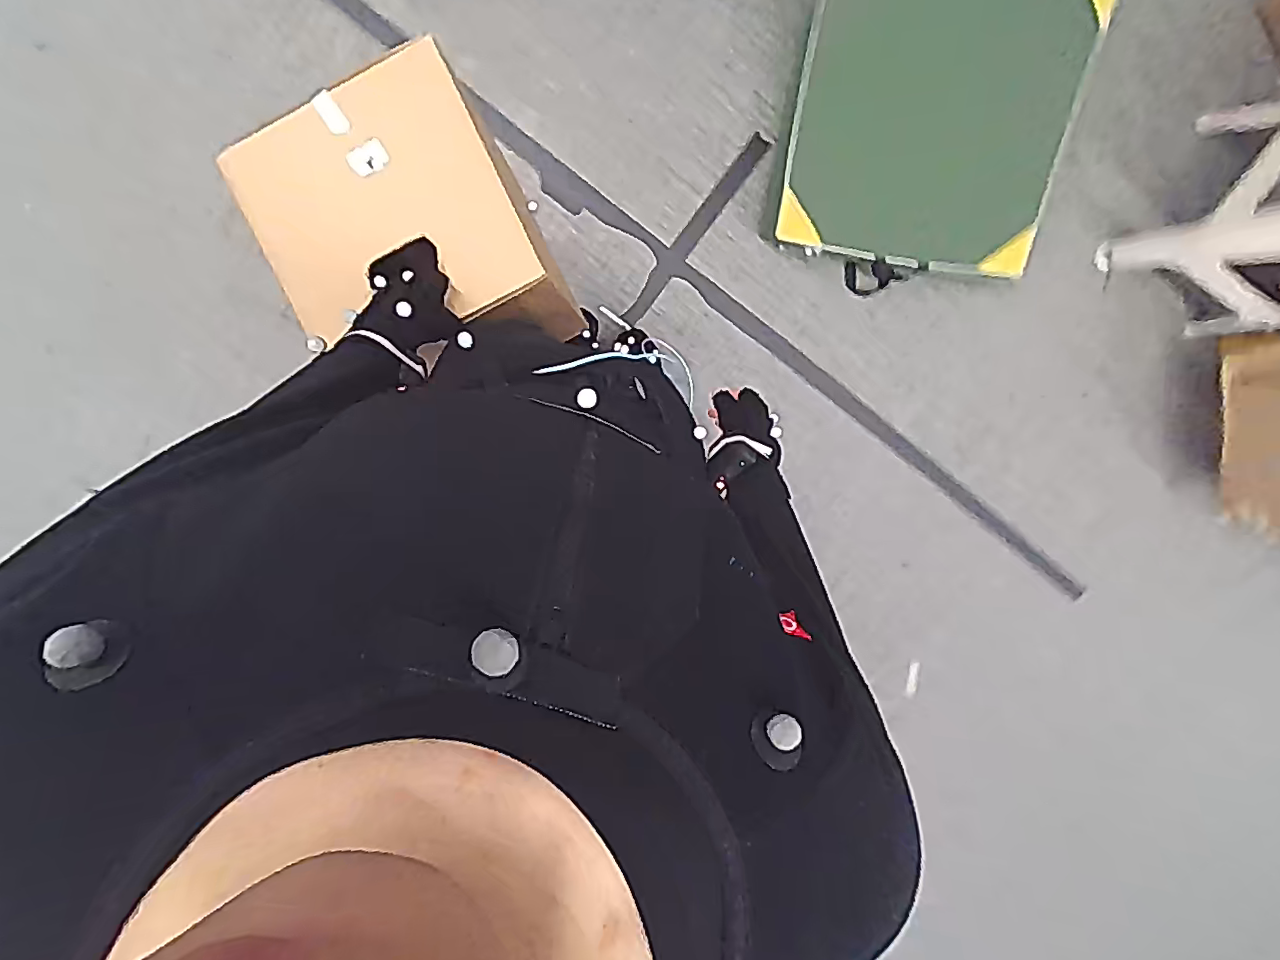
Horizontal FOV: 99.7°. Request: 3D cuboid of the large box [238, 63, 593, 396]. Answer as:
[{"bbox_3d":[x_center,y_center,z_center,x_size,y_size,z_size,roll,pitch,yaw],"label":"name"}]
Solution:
[{"bbox_3d":[-0.305,-0.342,0.873,0.320,0.408,0.320,-25,96,6],"label":"large box"}]
